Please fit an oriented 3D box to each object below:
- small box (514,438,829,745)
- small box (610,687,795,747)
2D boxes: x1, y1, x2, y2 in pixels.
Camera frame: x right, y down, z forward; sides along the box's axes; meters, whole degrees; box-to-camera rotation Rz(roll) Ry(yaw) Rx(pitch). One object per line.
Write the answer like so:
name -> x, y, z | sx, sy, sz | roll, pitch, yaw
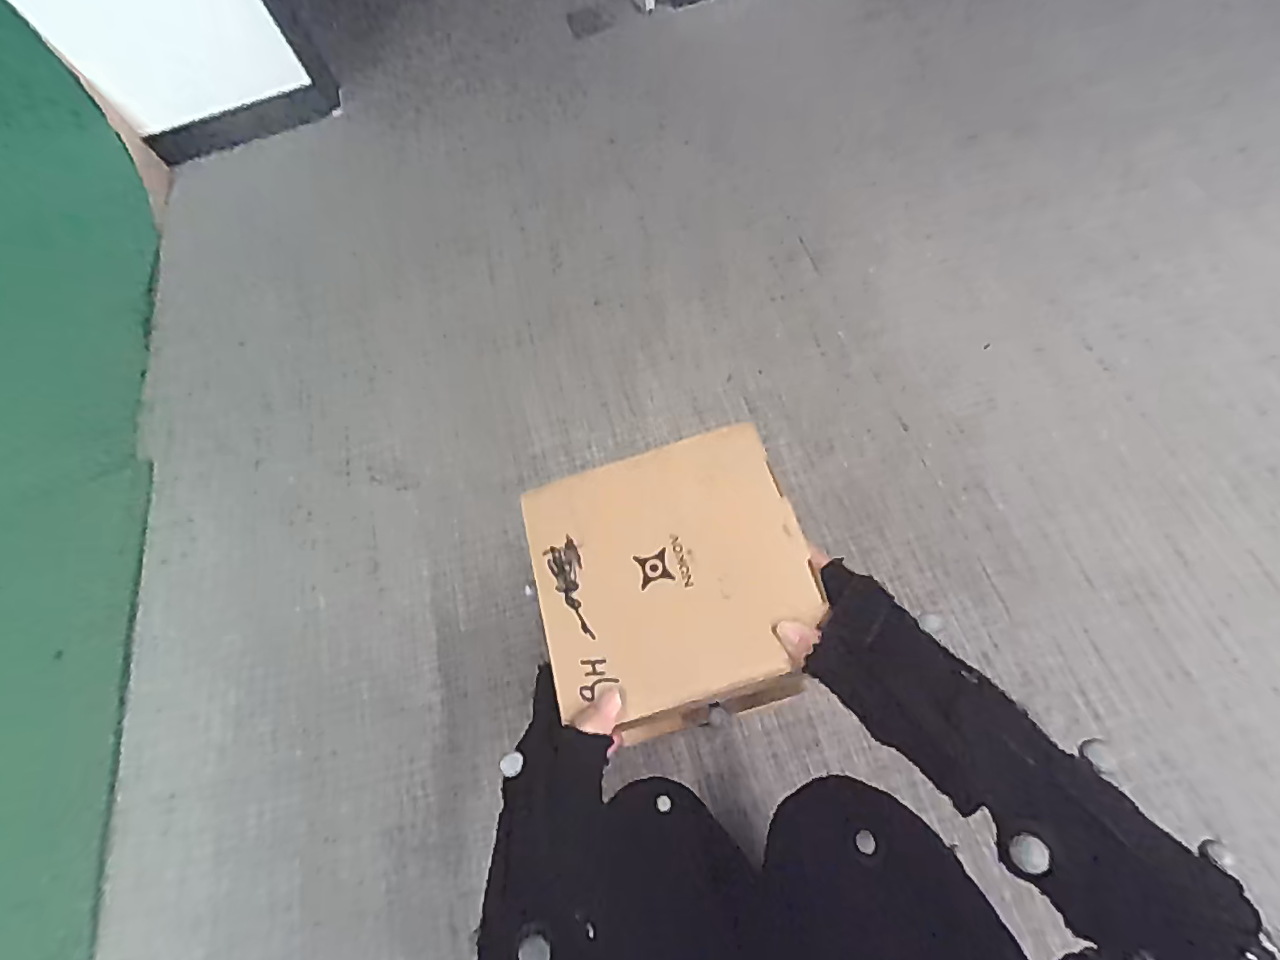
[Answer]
small box -> 0.022, 0.095, 0.423 | 0.179, 0.176, 0.168 | -16, 64, 2
small box -> 0.047, 0.165, 0.569 | 0.168, 0.176, 0.179 | -16, 66, 2
